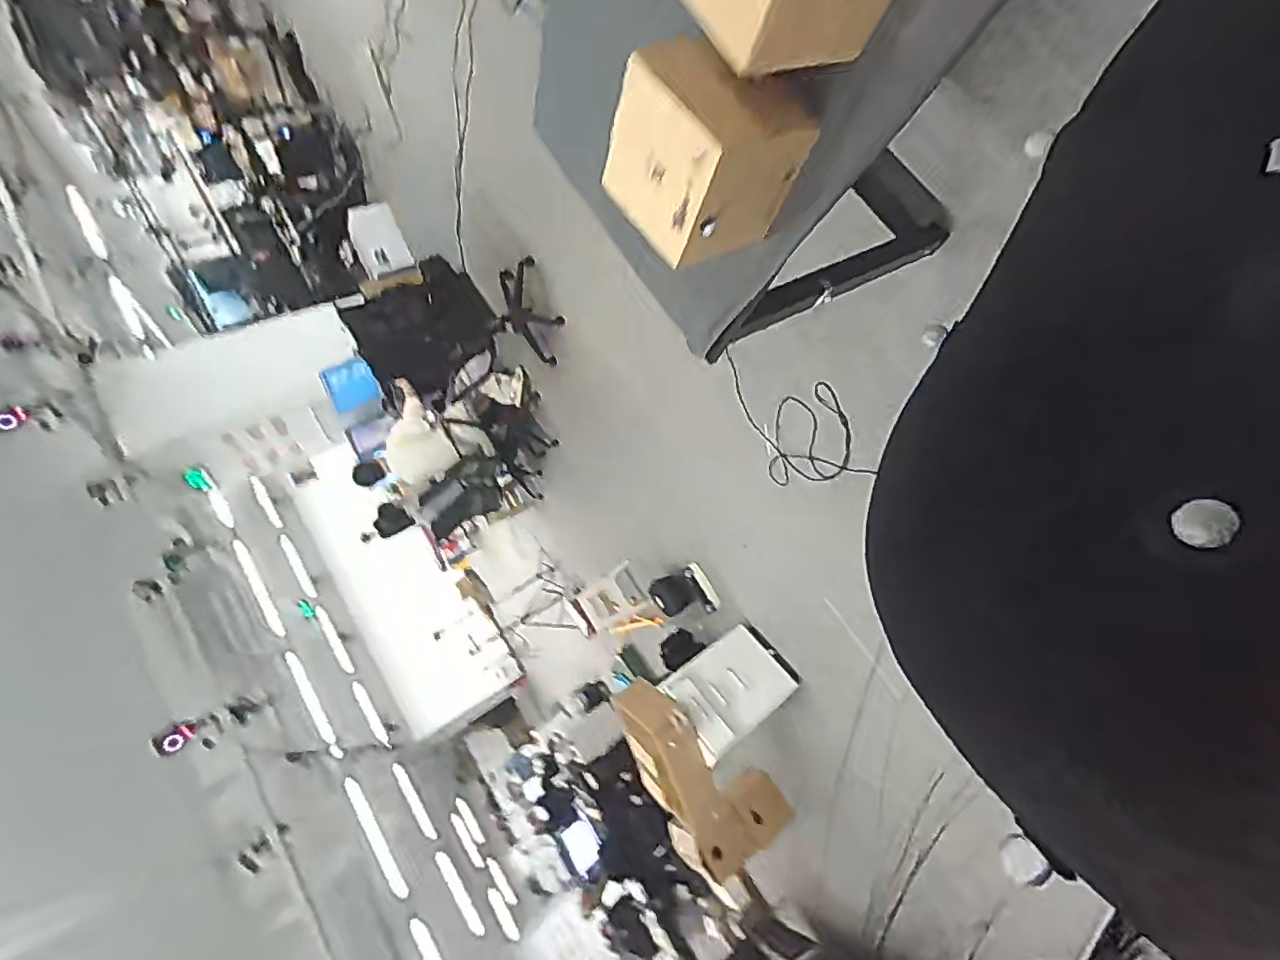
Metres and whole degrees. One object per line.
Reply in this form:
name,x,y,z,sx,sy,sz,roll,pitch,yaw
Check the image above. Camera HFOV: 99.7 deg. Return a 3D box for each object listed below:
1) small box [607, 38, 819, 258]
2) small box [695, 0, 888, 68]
small box,0.086,-0.422,0.690,0.179,0.176,0.168,56,154,13
small box,0.150,-0.518,0.478,0.168,0.176,0.179,59,156,9
